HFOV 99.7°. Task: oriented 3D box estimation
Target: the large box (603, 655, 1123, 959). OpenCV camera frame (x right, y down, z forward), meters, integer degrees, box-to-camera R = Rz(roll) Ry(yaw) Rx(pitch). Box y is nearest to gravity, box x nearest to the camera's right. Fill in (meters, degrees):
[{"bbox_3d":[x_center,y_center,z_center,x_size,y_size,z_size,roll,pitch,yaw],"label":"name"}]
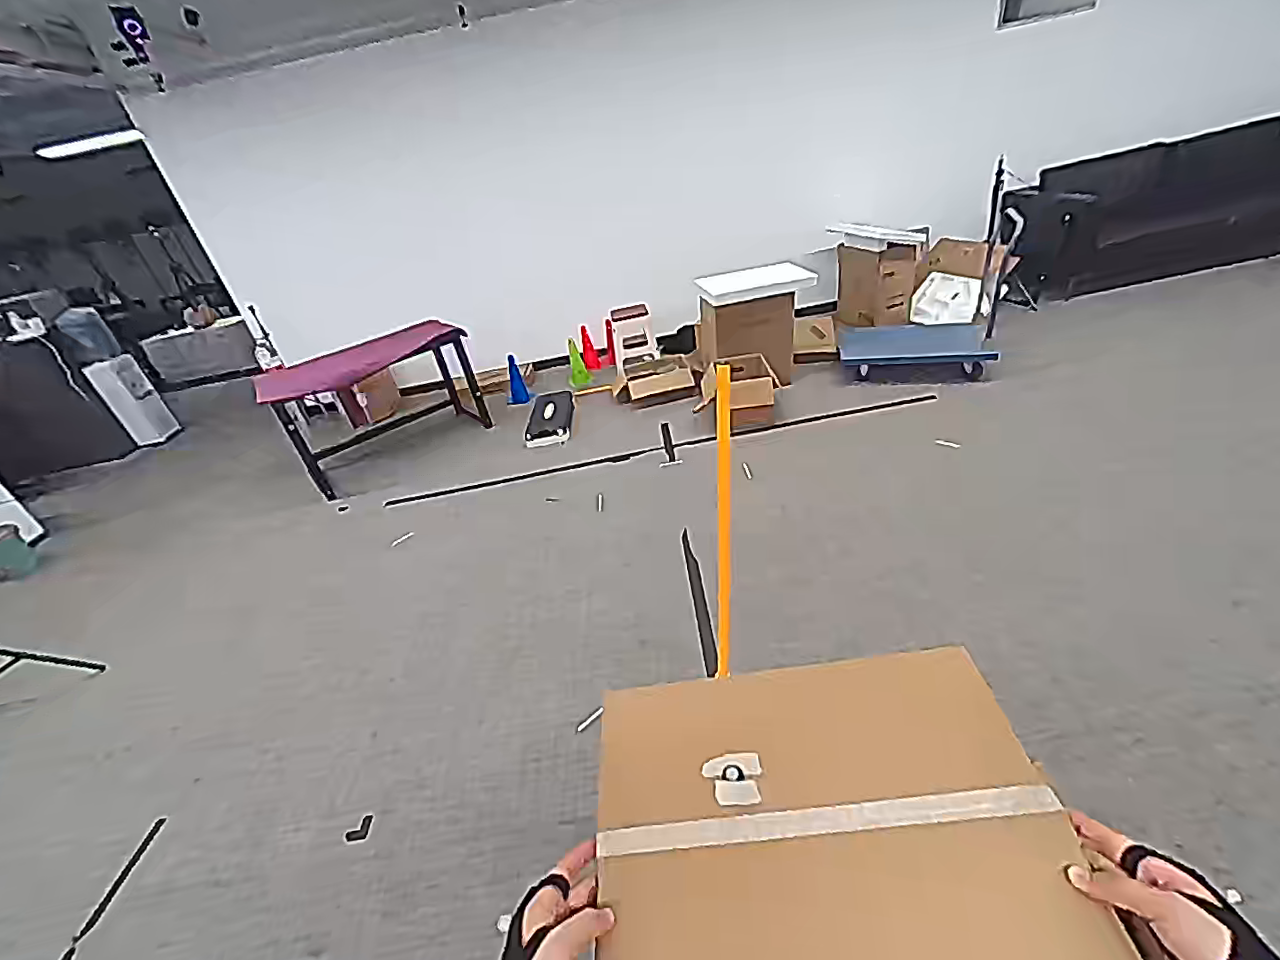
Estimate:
[{"bbox_3d":[0.191,0.434,0.592,0.408,0.320,0.320,-10,38,6],"label":"large box"}]
